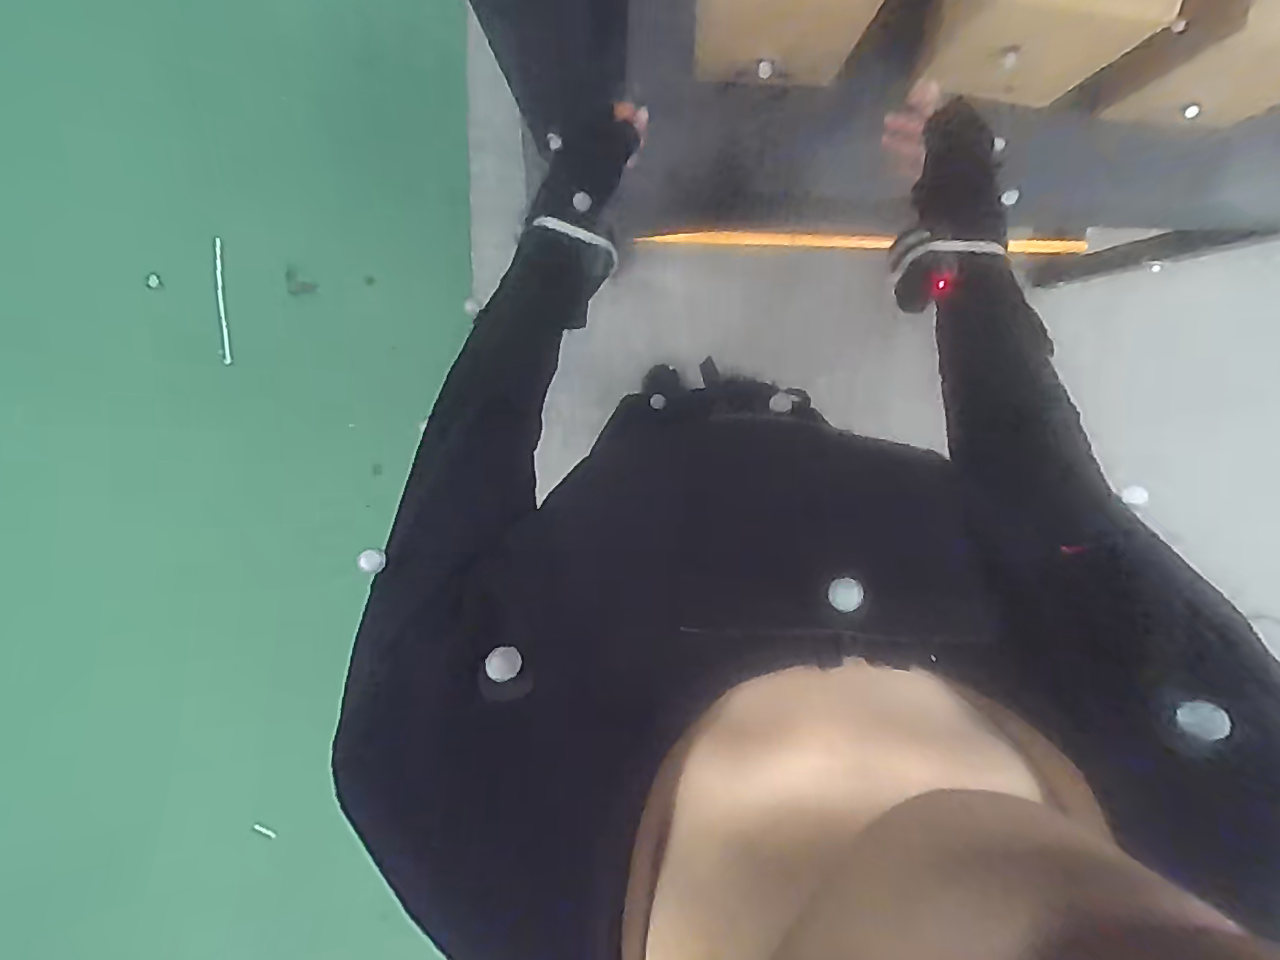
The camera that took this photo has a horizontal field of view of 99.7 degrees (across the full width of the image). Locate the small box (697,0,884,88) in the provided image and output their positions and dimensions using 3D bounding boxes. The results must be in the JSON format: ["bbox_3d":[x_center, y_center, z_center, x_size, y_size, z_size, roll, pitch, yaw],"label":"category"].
[{"bbox_3d":[0.150,-0.545,0.554,0.168,0.176,0.179,2,101,0],"label":"small box"}]

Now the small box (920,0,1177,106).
[{"bbox_3d":[0.419,-0.526,0.557,0.168,0.176,0.179,8,100,-1],"label":"small box"}]
